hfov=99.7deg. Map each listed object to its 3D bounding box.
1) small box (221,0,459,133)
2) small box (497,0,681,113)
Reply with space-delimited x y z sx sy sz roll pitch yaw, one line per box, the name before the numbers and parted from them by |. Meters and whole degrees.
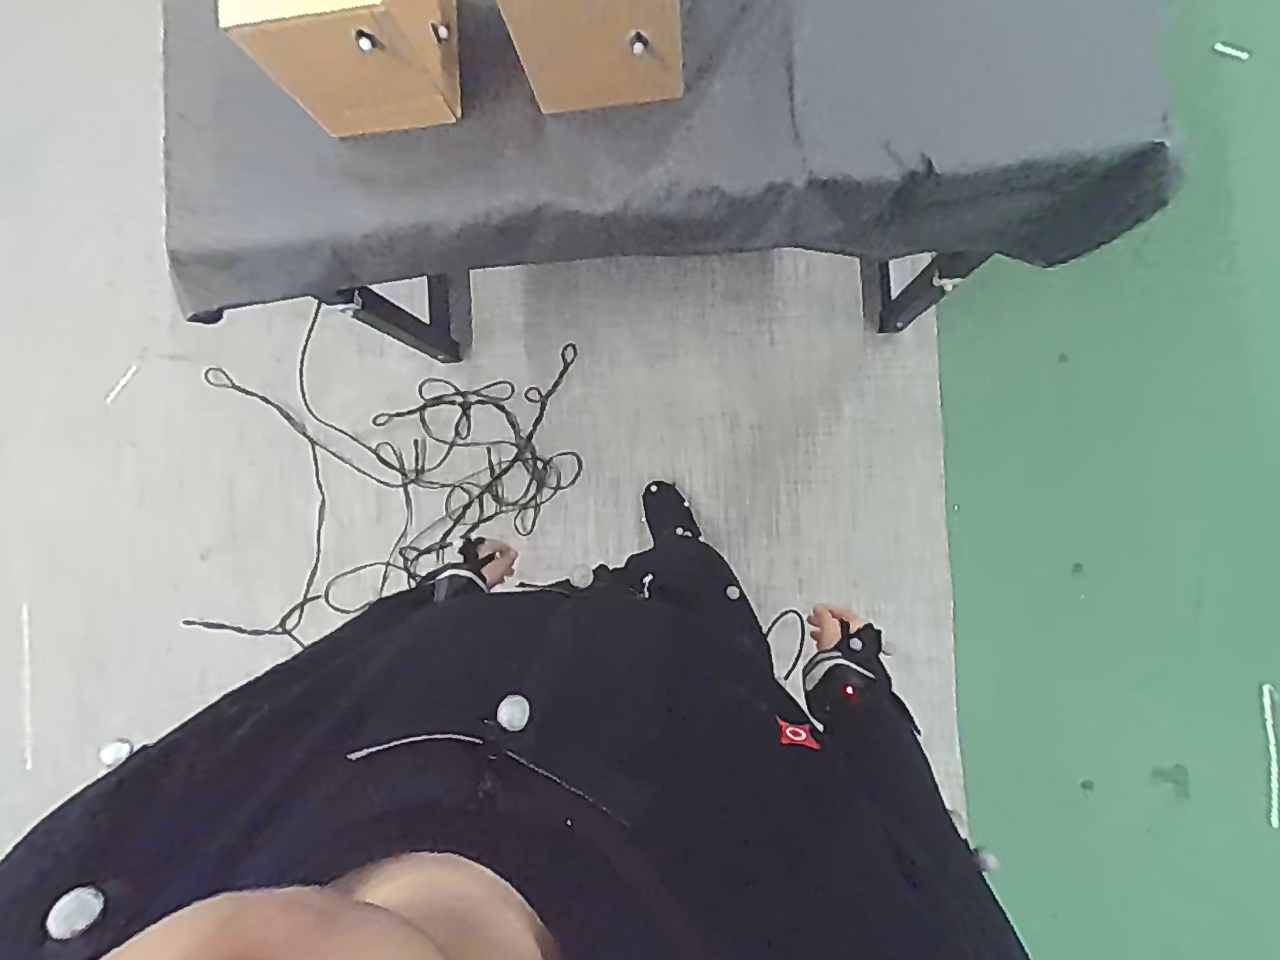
small box | -0.326 -0.529 0.614 0.179 0.176 0.168 -4 87 5
small box | -0.047 -0.539 0.583 0.179 0.176 0.168 -3 86 8
